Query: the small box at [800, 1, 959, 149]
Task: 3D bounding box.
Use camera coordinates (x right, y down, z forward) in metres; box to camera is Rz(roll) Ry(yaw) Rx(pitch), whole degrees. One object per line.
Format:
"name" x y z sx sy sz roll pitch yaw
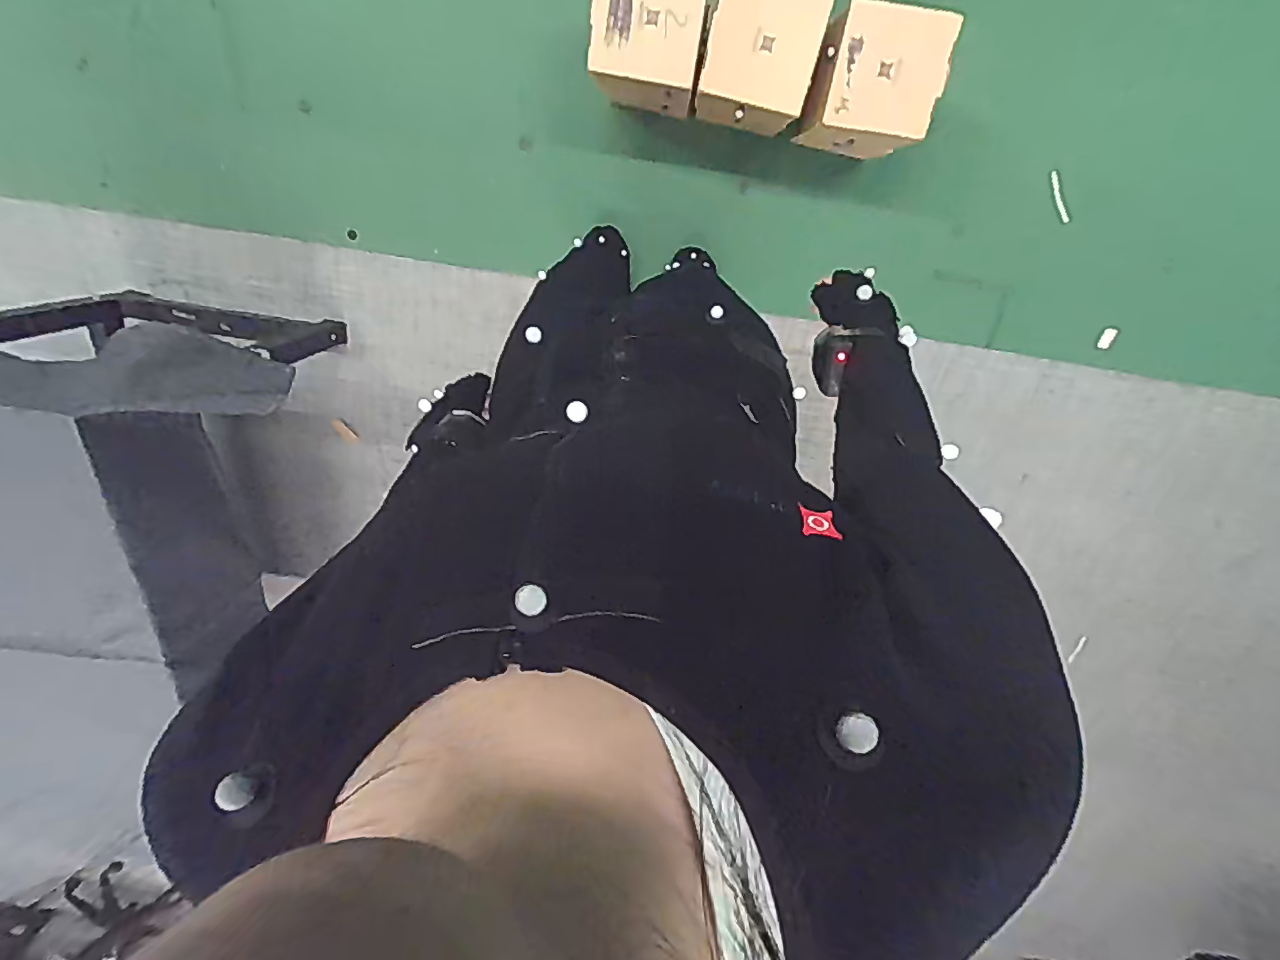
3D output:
"small box" 0.397 -0.682 0.932 0.179 0.176 0.168 9 117 -1
